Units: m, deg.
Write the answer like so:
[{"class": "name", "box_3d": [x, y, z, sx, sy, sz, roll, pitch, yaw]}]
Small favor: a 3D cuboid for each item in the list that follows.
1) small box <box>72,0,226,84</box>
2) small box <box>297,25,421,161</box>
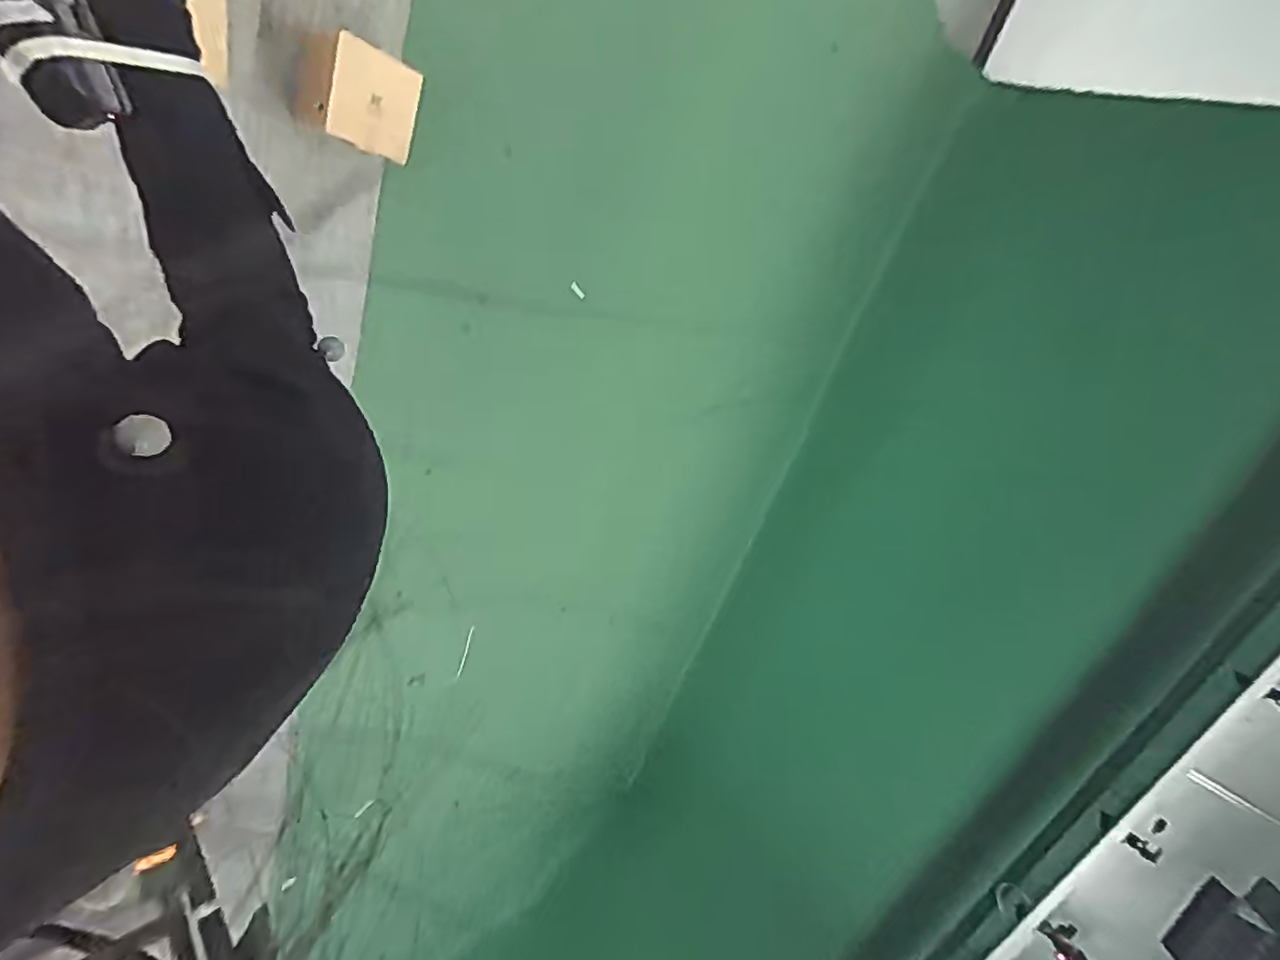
[{"class": "small box", "box_3d": [-0.786, -0.774, 0.865, 0.168, 0.176, 0.179, -12, 127, -49]}, {"class": "small box", "box_3d": [-0.585, -0.798, 1.118, 0.168, 0.176, 0.179, -4, 122, -51]}]
